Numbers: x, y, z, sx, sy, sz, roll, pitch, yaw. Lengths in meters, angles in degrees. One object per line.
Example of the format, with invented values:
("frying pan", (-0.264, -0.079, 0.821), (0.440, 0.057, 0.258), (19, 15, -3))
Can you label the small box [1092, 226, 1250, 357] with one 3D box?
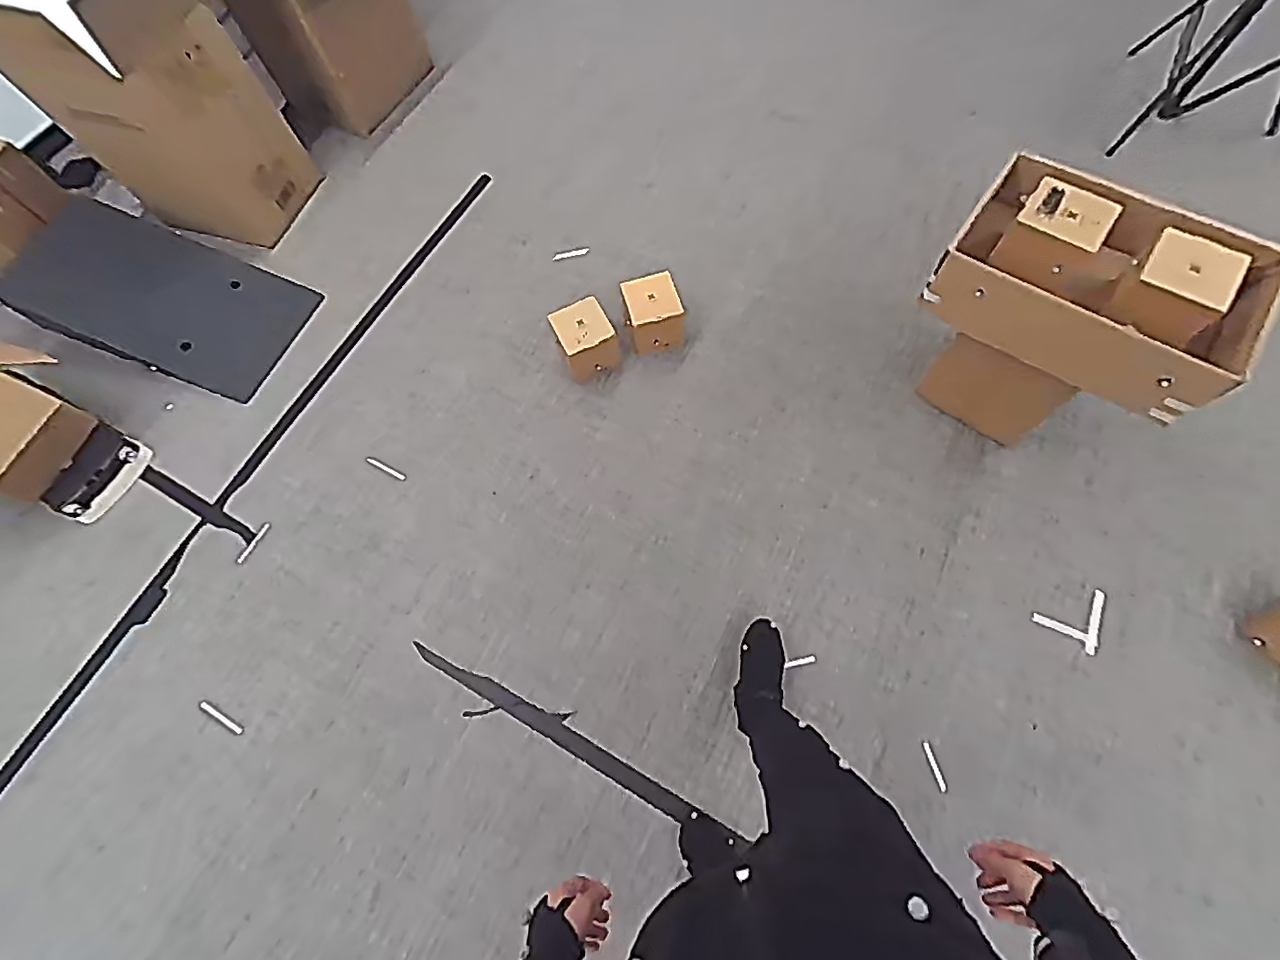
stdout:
("small box", (1.154, -0.410, 1.189), (0.168, 0.176, 0.179), (33, 71, 18))

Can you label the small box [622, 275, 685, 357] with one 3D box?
("small box", (0.045, -0.538, 1.787), (0.168, 0.176, 0.179), (-16, 69, -3))

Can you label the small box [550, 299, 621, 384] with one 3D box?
("small box", (-0.174, -0.446, 1.764), (0.168, 0.176, 0.179), (-26, 69, -5))

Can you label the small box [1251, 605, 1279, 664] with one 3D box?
("small box", (1.644, 0.377, 1.285), (0.179, 0.176, 0.168), (-30, 69, -8))
